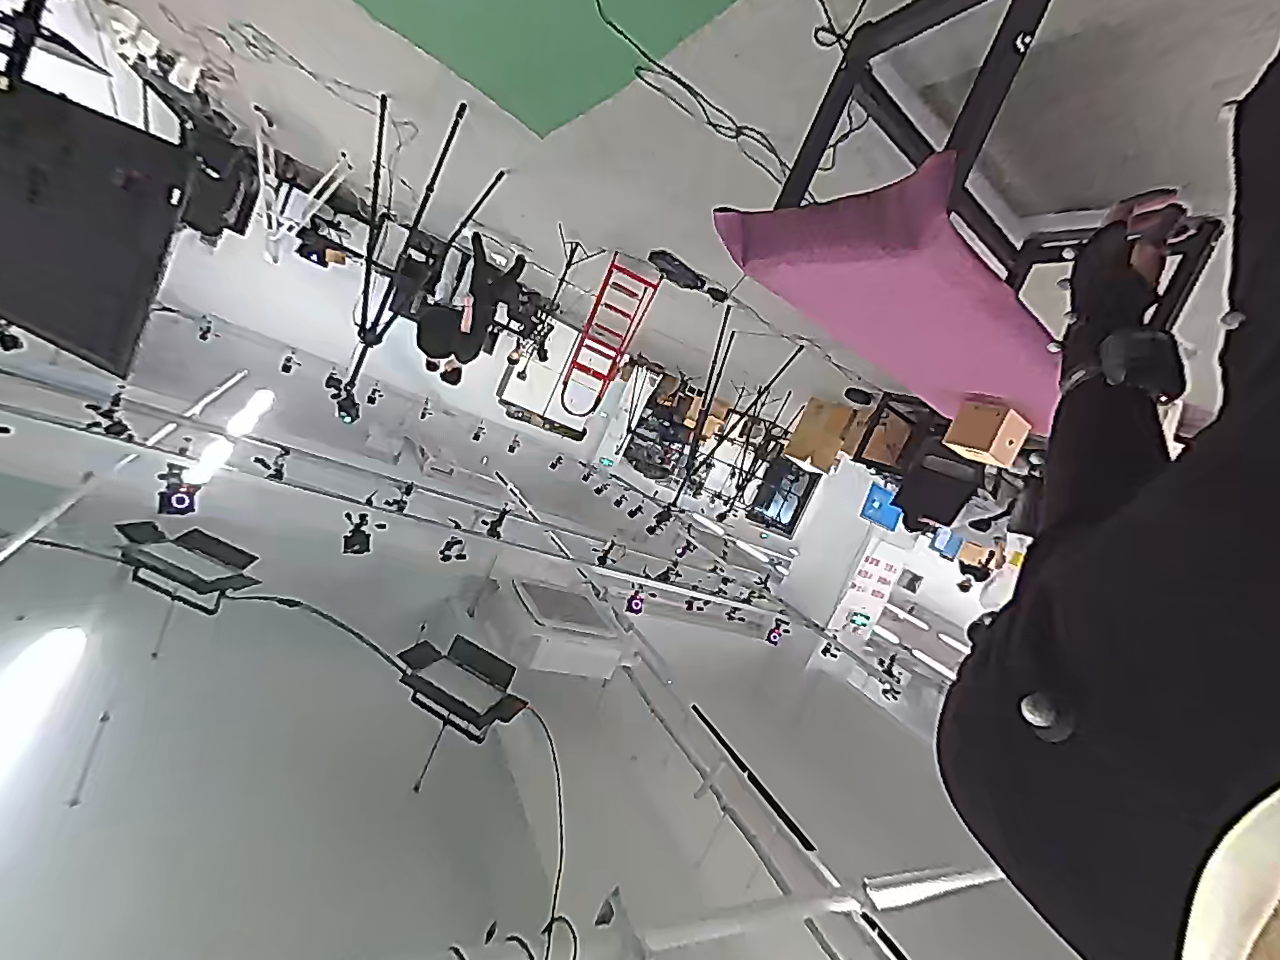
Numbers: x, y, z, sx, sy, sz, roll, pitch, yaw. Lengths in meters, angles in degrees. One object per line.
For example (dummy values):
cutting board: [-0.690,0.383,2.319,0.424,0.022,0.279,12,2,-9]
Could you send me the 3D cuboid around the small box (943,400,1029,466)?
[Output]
small box: [1.211,-0.169,1.890,0.179,0.176,0.168,19,-173,-33]
